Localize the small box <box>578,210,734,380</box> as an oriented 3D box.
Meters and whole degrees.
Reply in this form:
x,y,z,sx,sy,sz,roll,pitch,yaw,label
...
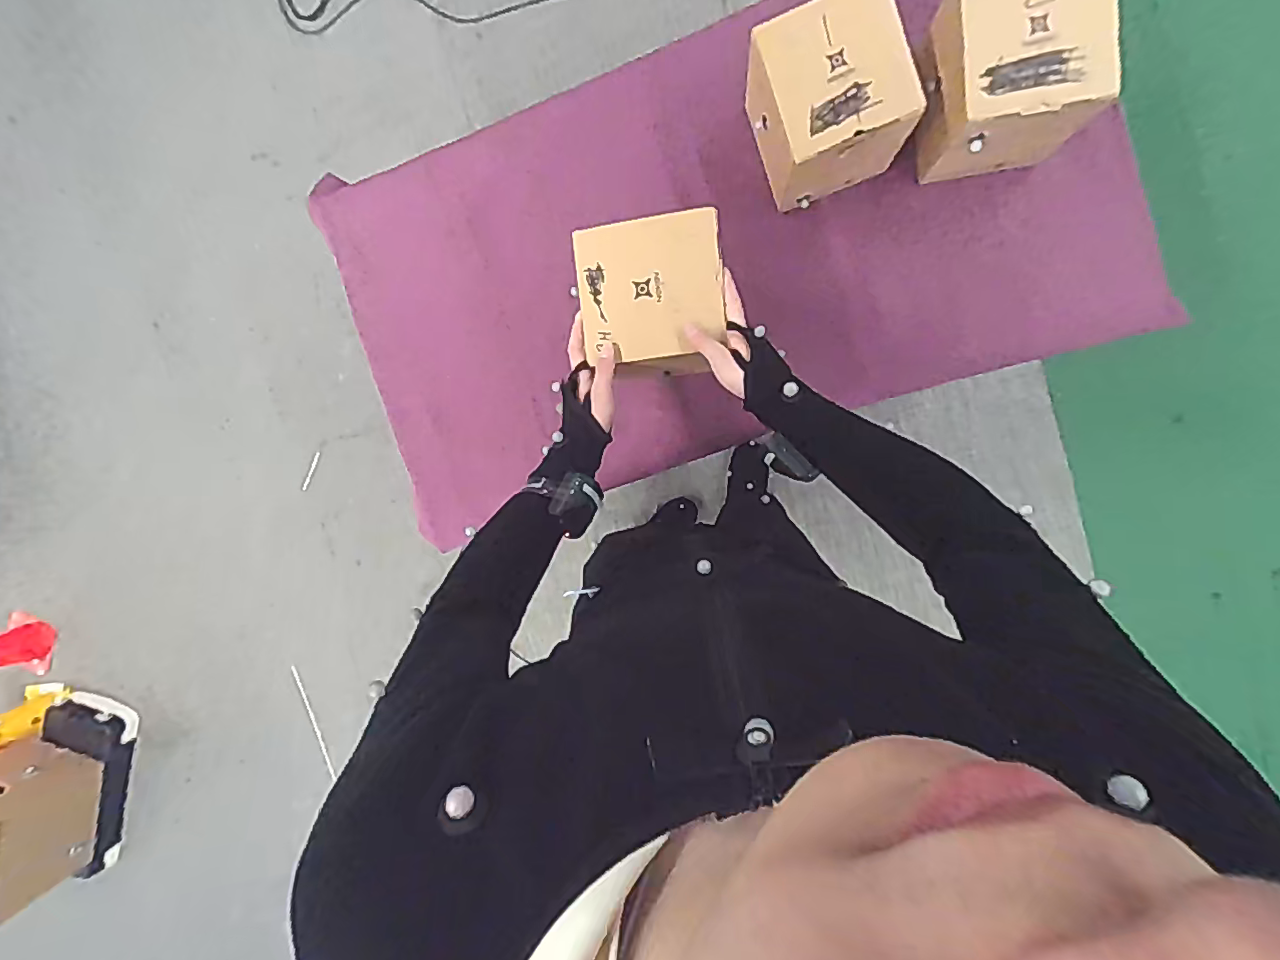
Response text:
x,y,z,sx,sy,sz,roll,pitch,yaw,label
0.027,-0.230,0.717,0.179,0.176,0.168,-5,93,8,small box
